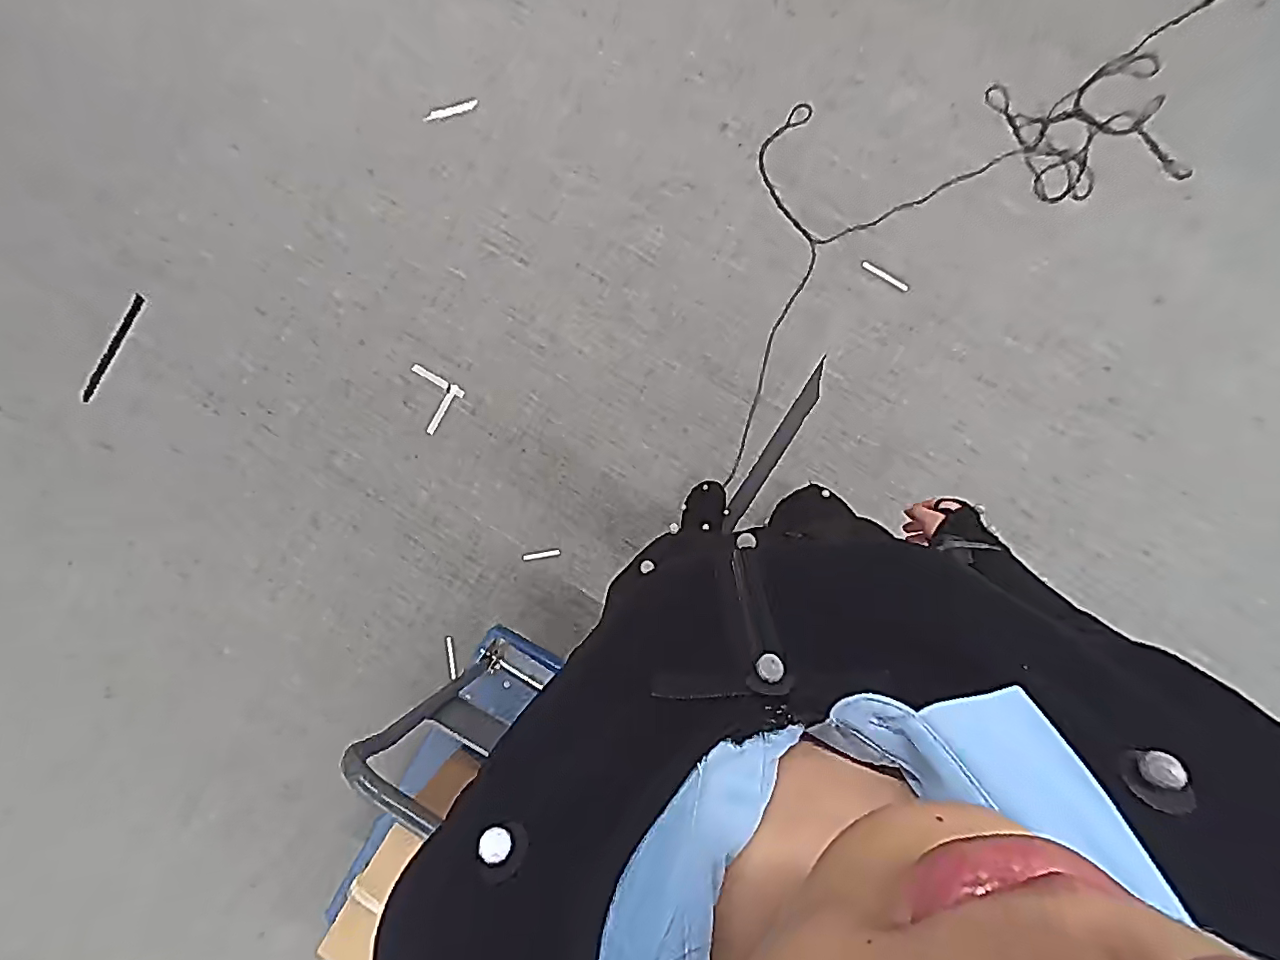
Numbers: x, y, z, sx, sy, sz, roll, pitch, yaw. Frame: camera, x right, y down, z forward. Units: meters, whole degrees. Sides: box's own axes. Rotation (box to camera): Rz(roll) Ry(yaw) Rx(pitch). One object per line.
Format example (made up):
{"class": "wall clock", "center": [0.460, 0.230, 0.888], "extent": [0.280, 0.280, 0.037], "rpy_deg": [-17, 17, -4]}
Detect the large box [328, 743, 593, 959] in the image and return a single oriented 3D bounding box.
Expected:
{"class": "large box", "center": [-0.368, 0.881, 1.207], "extent": [0.408, 0.320, 0.320], "rpy_deg": [31, 91, 4]}
